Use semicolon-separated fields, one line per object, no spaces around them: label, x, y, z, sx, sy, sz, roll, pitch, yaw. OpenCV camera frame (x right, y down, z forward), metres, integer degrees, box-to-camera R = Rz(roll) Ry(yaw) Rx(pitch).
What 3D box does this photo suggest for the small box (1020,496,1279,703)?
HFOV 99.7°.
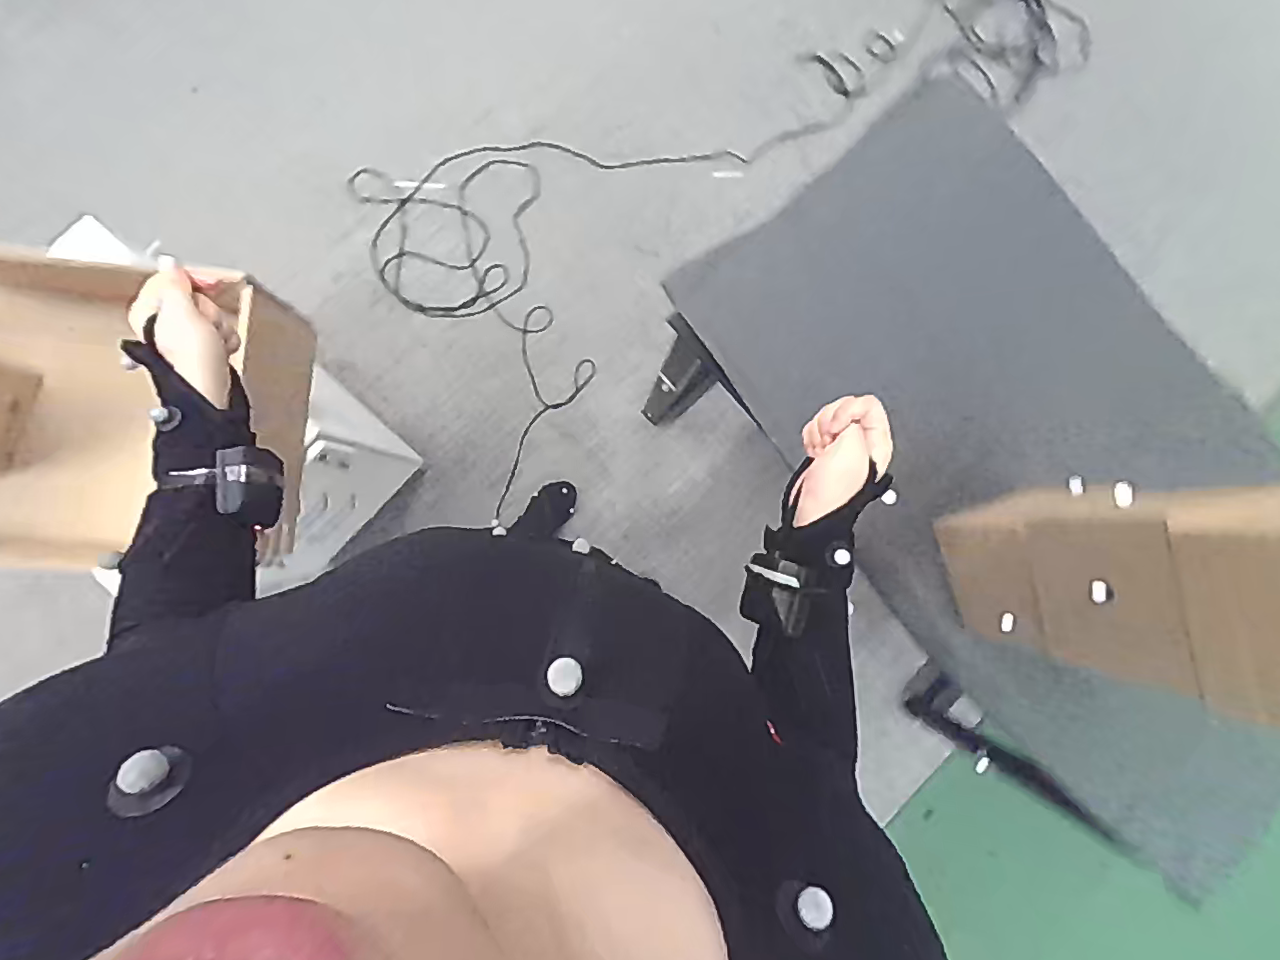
small box;0.557;0.114;0.583;0.168;0.176;0.179;-8;86;-6
